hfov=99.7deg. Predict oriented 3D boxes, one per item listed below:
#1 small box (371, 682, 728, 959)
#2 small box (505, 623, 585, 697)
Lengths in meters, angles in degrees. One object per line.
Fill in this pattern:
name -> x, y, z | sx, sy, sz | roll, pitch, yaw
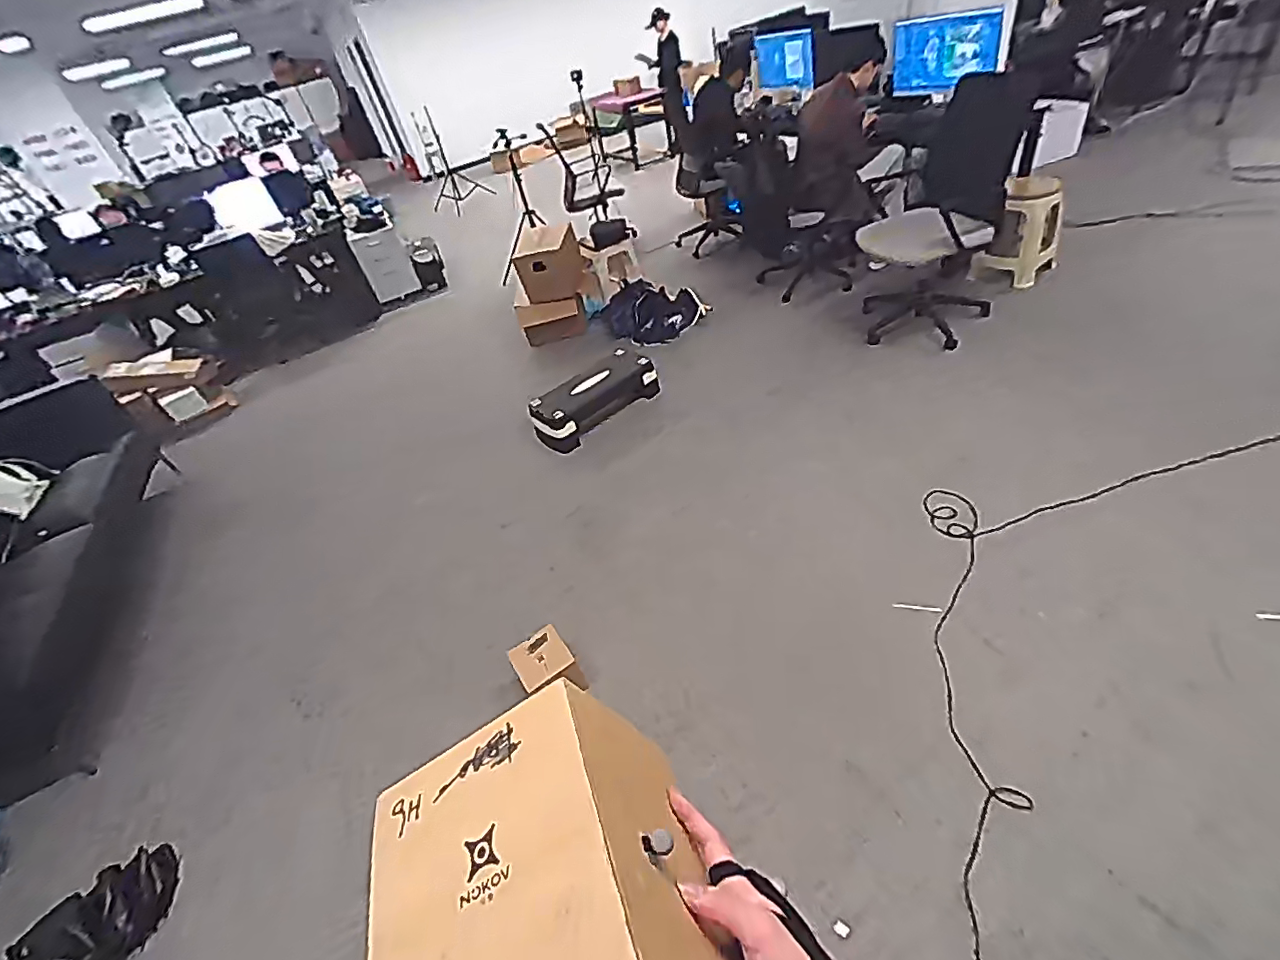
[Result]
small box -> -0.061, 0.284, 0.382 | 0.168, 0.176, 0.179 | -32, 42, 2
small box -> -0.300, 0.600, 1.715 | 0.168, 0.176, 0.179 | -32, 44, -18
